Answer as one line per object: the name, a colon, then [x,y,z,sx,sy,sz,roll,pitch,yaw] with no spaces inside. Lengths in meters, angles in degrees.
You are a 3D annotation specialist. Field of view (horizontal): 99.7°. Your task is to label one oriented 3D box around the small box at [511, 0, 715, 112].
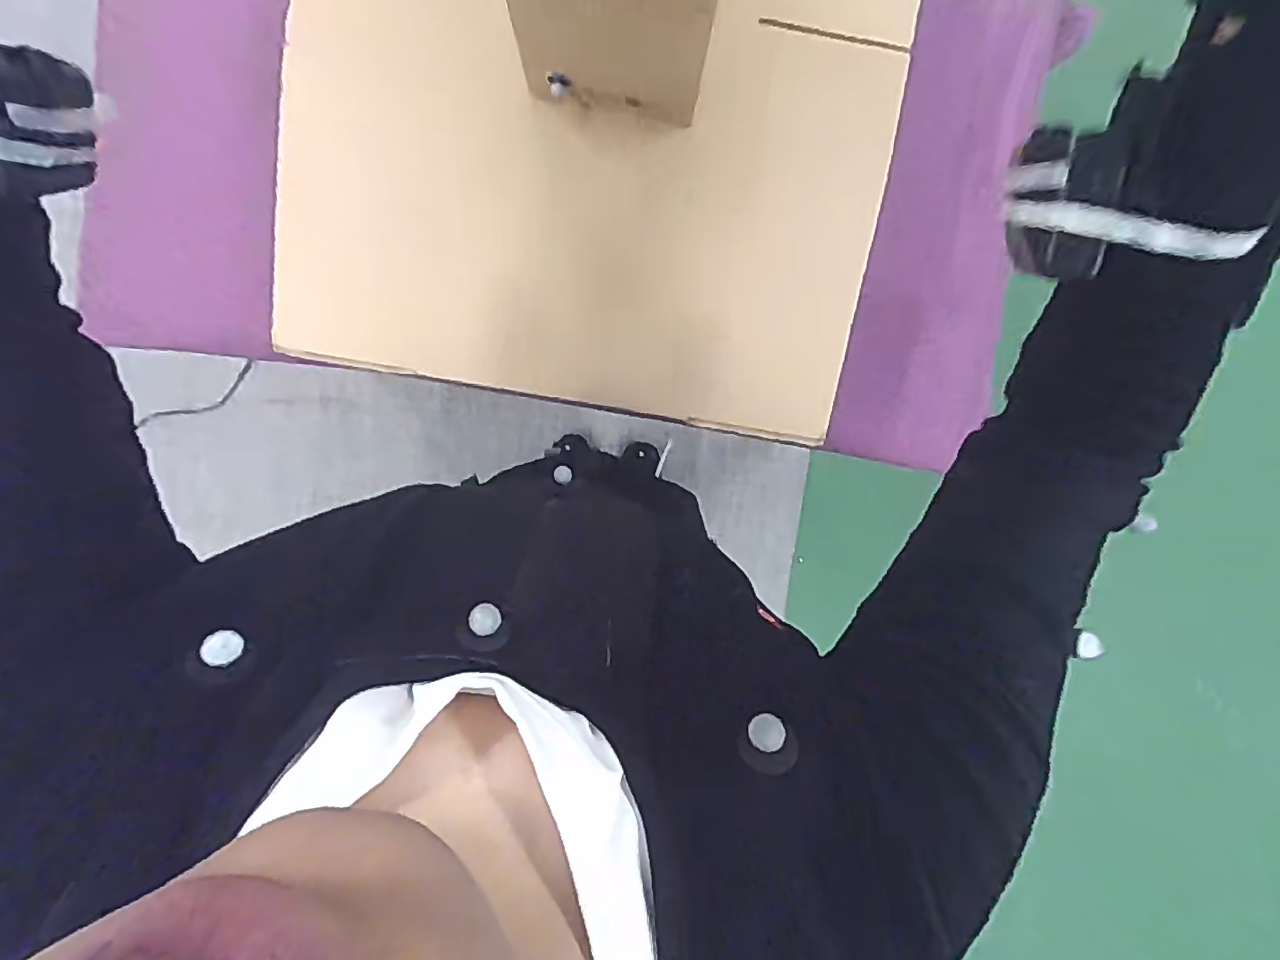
small box: [-0.012,-0.454,0.453,0.168,0.176,0.179,9,92,-3]
